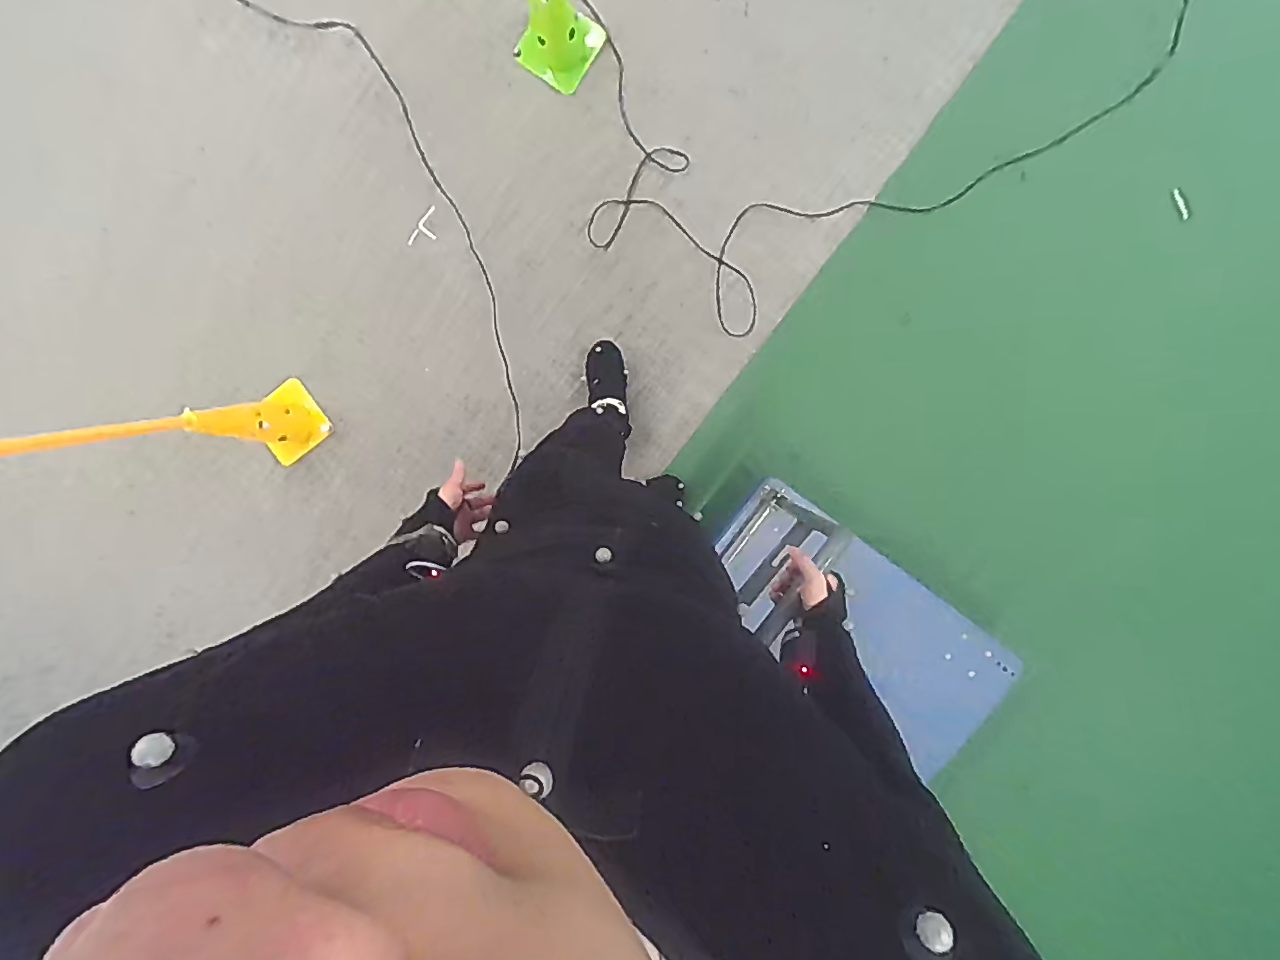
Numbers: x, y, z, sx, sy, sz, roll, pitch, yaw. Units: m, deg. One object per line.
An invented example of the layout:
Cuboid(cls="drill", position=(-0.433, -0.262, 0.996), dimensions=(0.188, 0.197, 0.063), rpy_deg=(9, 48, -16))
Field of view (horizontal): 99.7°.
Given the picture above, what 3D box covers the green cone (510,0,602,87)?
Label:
Cuboid(cls="green cone", position=(-0.232, -1.190, 1.302), dimensions=(0.200, 0.368, 0.202), rpy_deg=(33, 94, -2))
